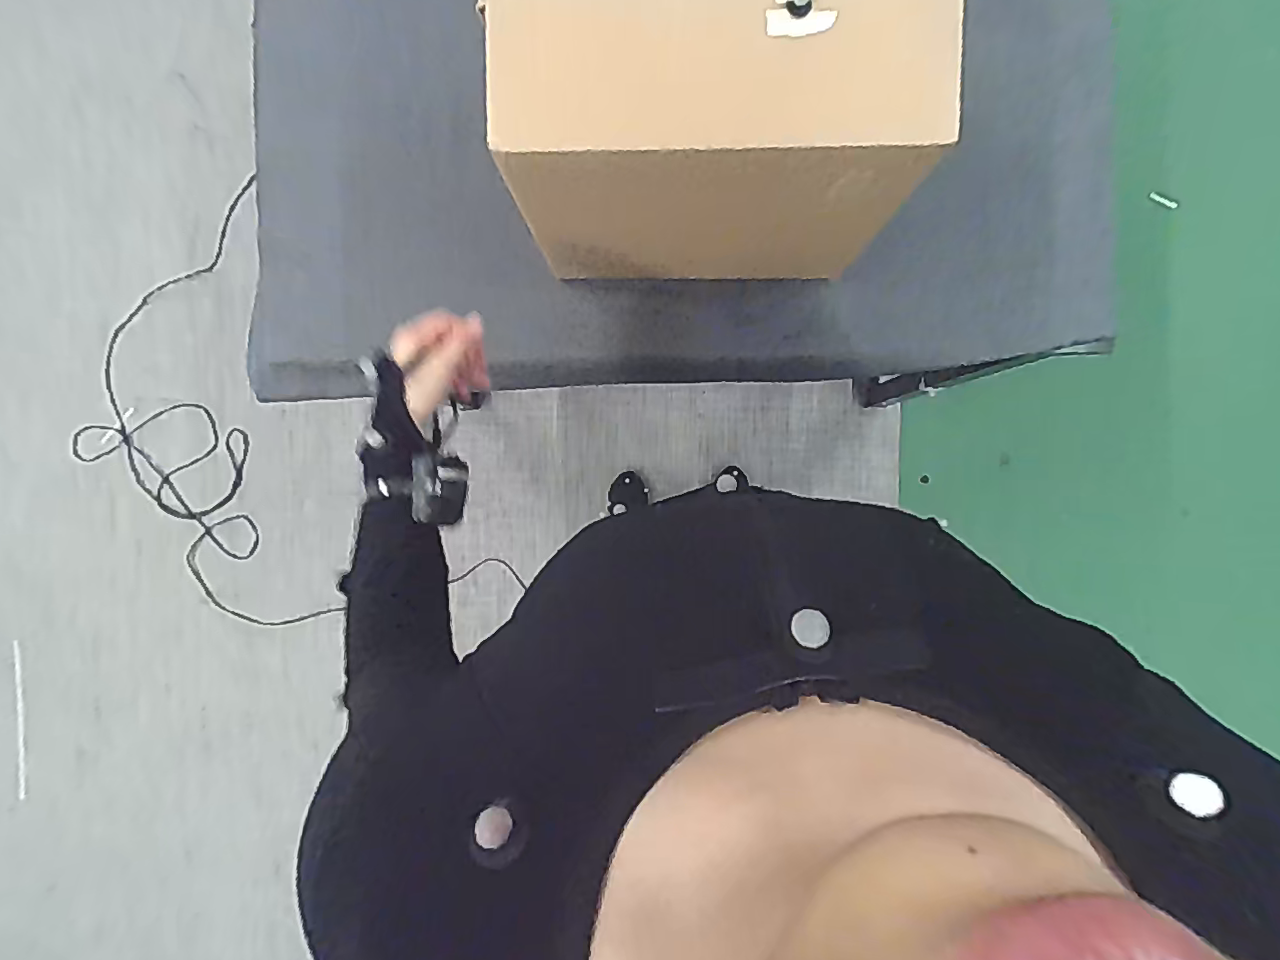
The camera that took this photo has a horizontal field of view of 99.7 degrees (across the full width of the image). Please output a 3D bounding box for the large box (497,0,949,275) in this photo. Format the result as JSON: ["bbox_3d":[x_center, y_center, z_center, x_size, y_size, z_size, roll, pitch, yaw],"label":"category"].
[{"bbox_3d":[0.072,-0.450,0.625,0.408,0.320,0.320,0,91,2],"label":"large box"}]
